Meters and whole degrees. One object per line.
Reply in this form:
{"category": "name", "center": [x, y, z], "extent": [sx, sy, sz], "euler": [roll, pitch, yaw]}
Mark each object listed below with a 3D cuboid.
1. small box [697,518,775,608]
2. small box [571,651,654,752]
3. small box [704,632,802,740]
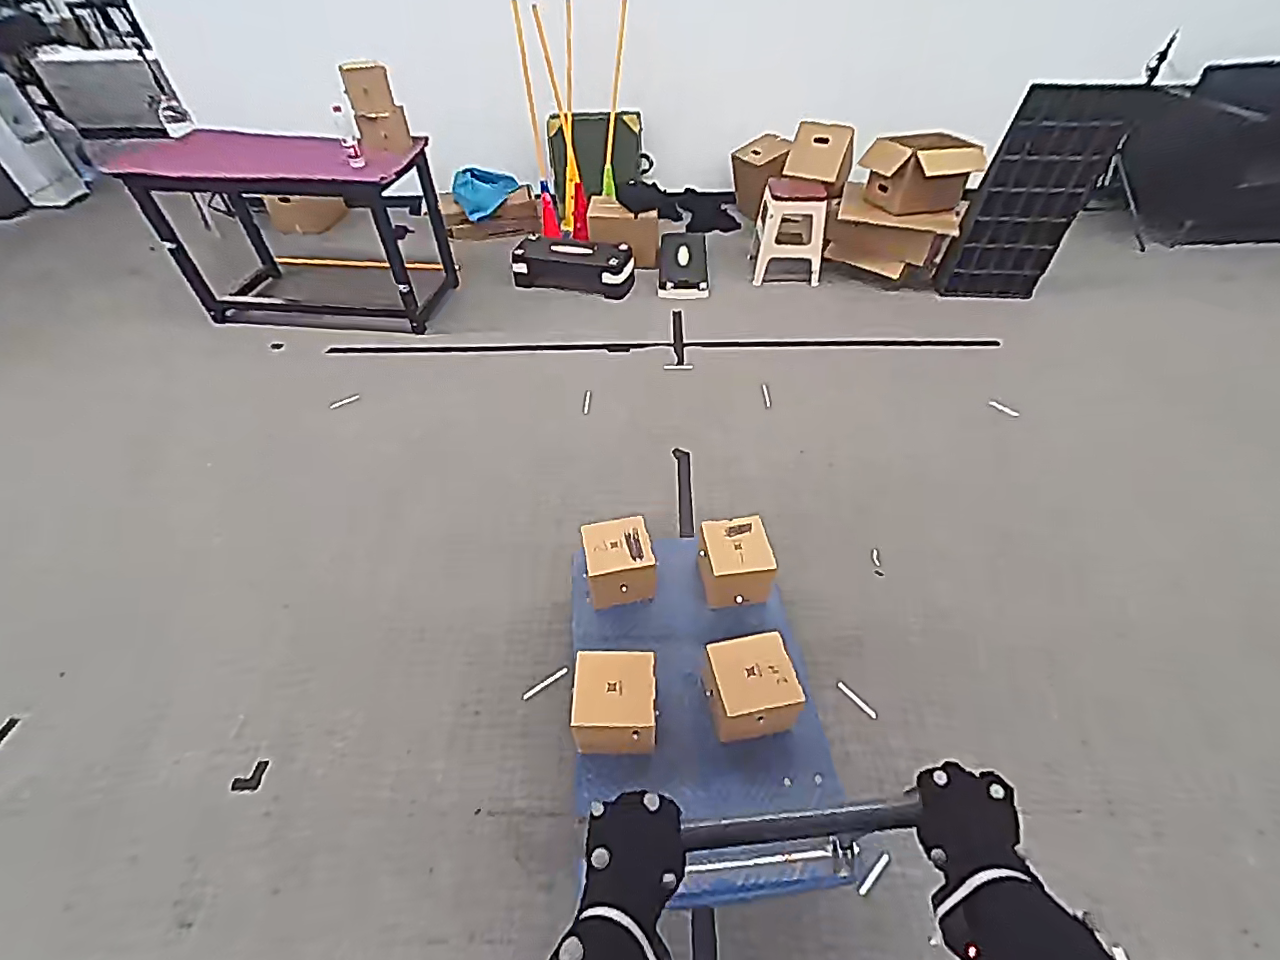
{"category": "small box", "center": [0.255, 0.229, 1.484], "extent": [0.168, 0.176, 0.179], "euler": [-6, 48, -4]}
{"category": "small box", "center": [-0.056, 0.505, 1.227], "extent": [0.179, 0.176, 0.168], "euler": [1, 46, -1]}
{"category": "small box", "center": [0.249, 0.479, 1.246], "extent": [0.179, 0.176, 0.168], "euler": [-9, 47, -7]}
